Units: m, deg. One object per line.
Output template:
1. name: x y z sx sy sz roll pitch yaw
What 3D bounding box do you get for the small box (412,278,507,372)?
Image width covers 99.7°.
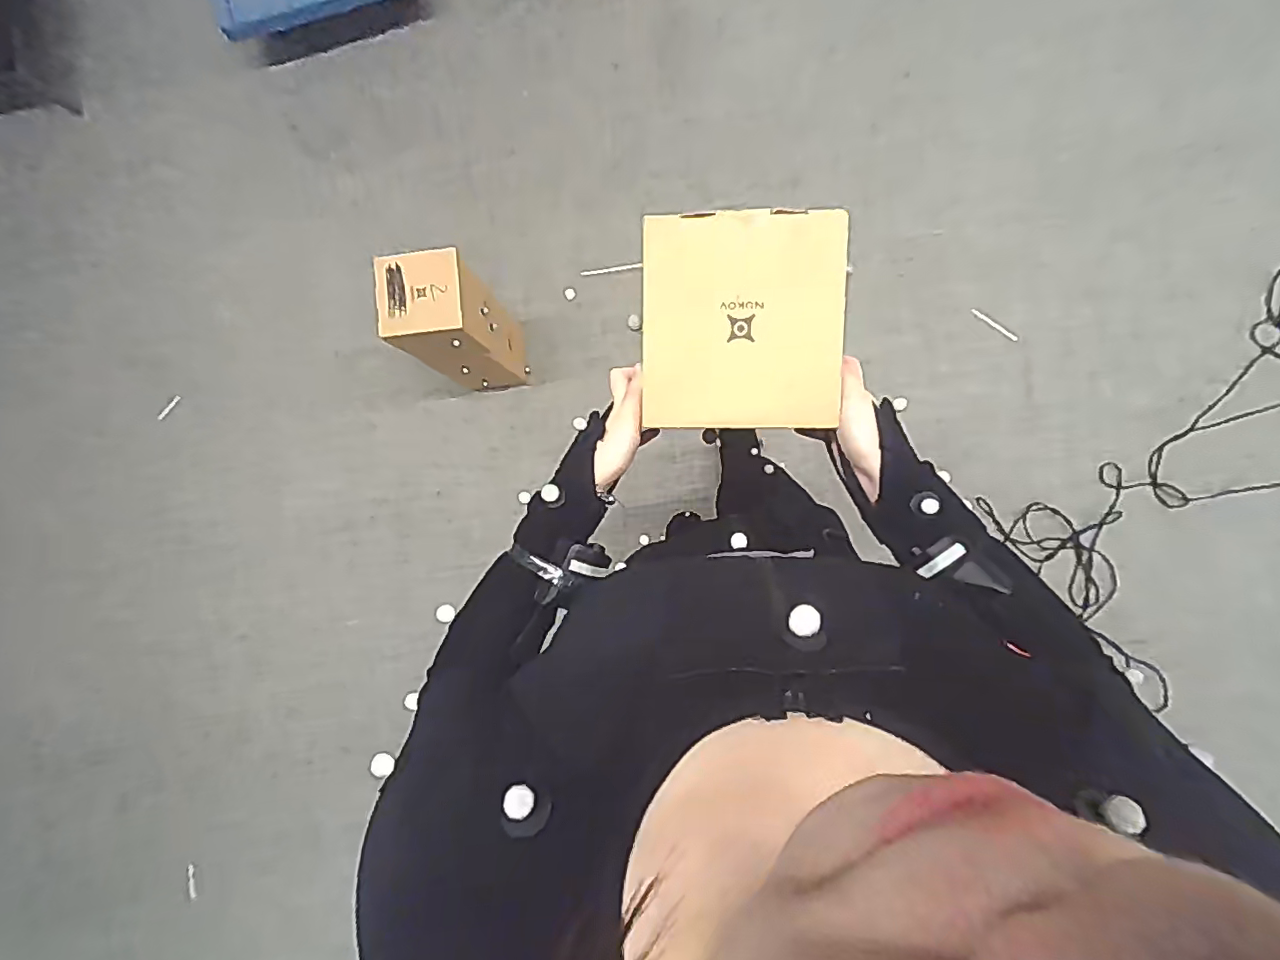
1. small box: -0.430 -0.365 1.311 0.168 0.176 0.179 -5 88 4

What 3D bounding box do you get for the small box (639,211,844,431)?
1. small box: 0.089 -0.137 0.524 0.168 0.176 0.179 0 96 5

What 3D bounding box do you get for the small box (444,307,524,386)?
1. small box: -0.423 -0.358 1.475 0.179 0.176 0.168 -6 88 5
